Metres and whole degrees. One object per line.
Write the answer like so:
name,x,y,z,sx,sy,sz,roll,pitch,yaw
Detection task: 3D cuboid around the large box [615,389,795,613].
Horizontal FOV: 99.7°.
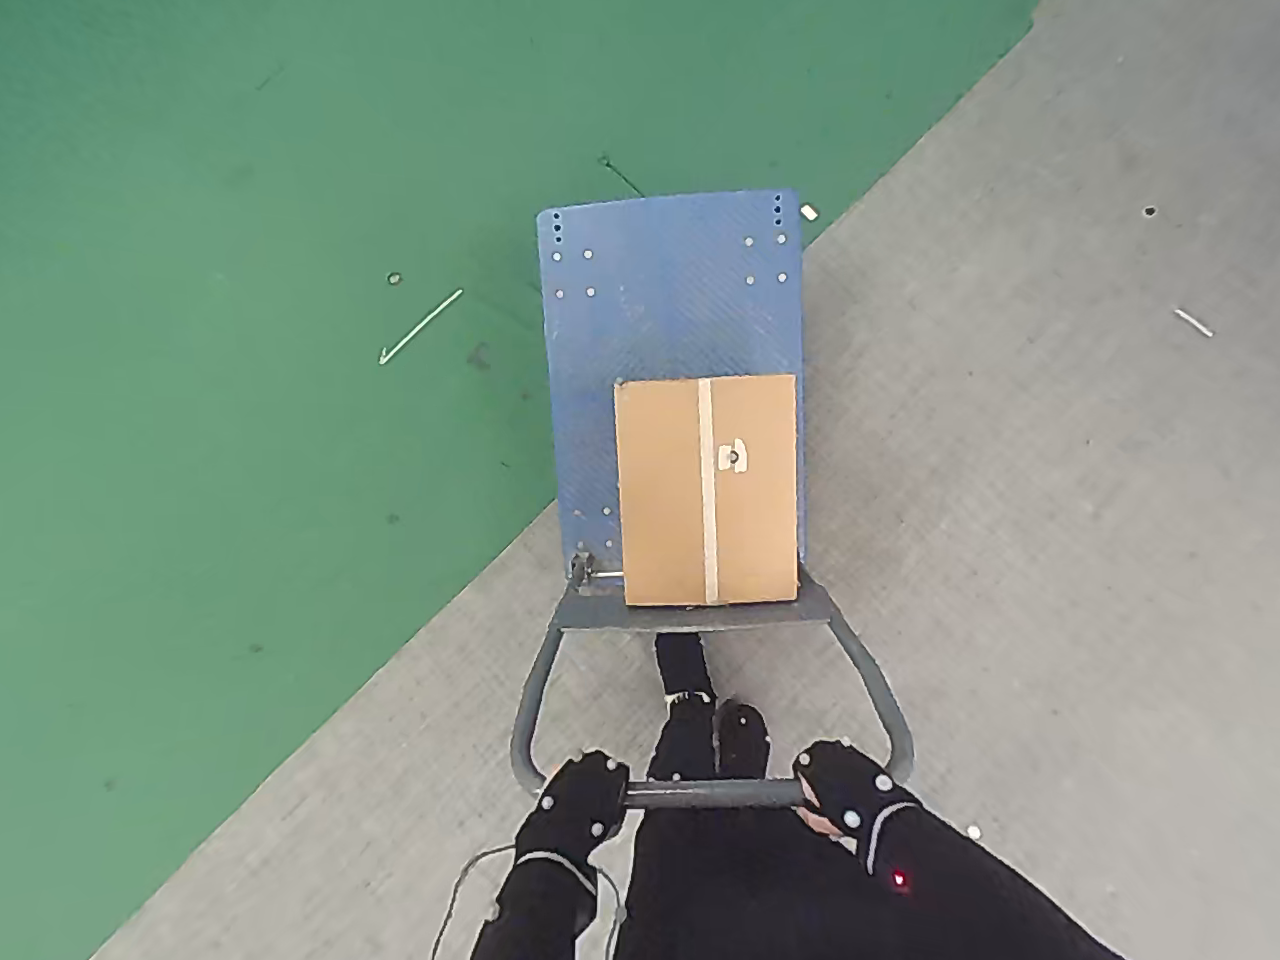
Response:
large box,0.128,0.028,1.124,0.320,0.320,0.408,-2,97,3
